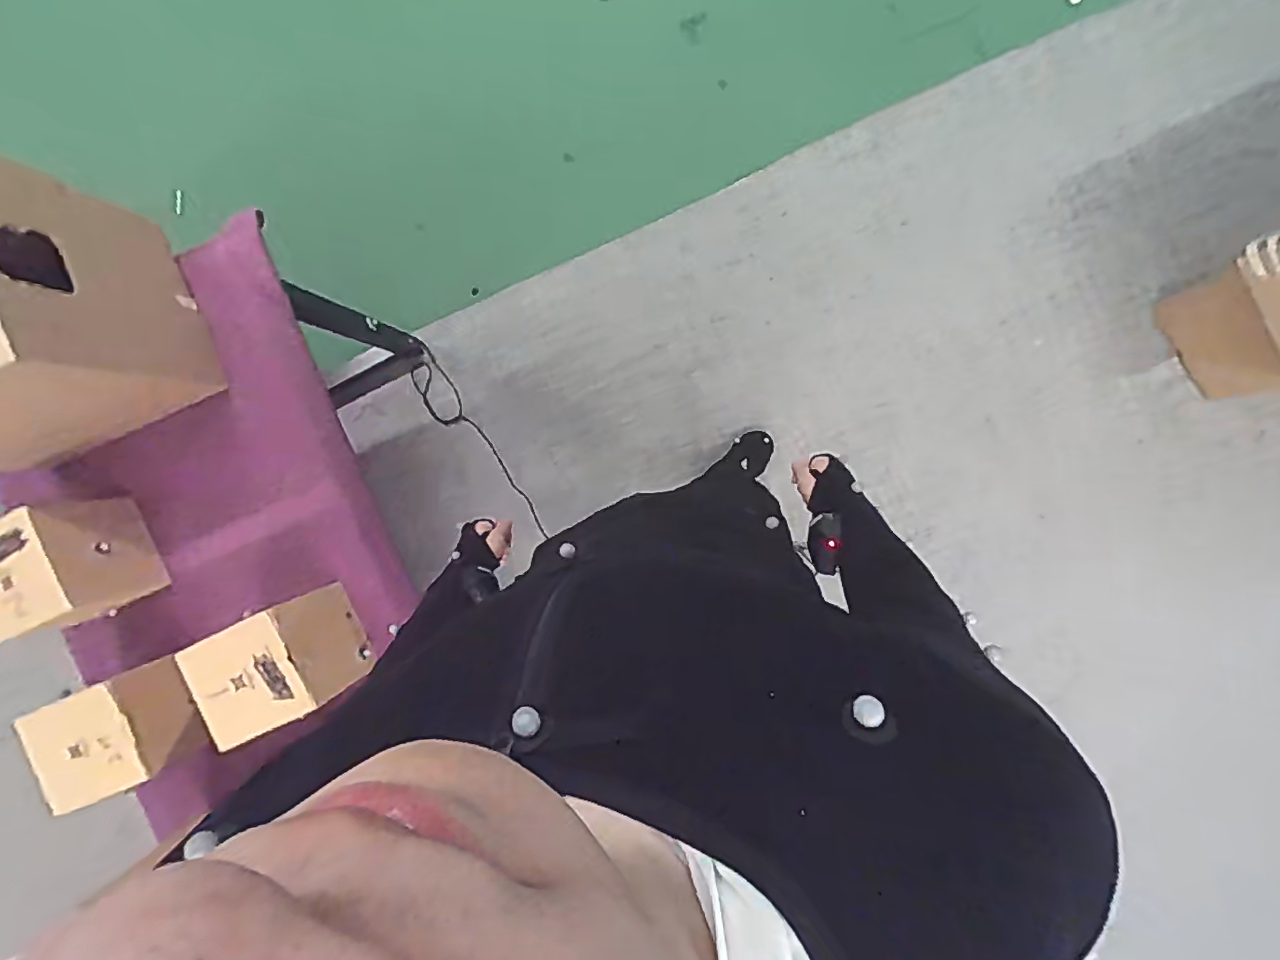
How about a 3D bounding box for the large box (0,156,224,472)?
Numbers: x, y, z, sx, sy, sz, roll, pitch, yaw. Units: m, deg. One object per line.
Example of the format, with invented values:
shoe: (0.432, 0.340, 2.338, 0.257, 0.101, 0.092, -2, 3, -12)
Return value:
large box: (-0.972, -0.222, 0.812, 0.408, 0.320, 0.320, -23, 93, 5)
